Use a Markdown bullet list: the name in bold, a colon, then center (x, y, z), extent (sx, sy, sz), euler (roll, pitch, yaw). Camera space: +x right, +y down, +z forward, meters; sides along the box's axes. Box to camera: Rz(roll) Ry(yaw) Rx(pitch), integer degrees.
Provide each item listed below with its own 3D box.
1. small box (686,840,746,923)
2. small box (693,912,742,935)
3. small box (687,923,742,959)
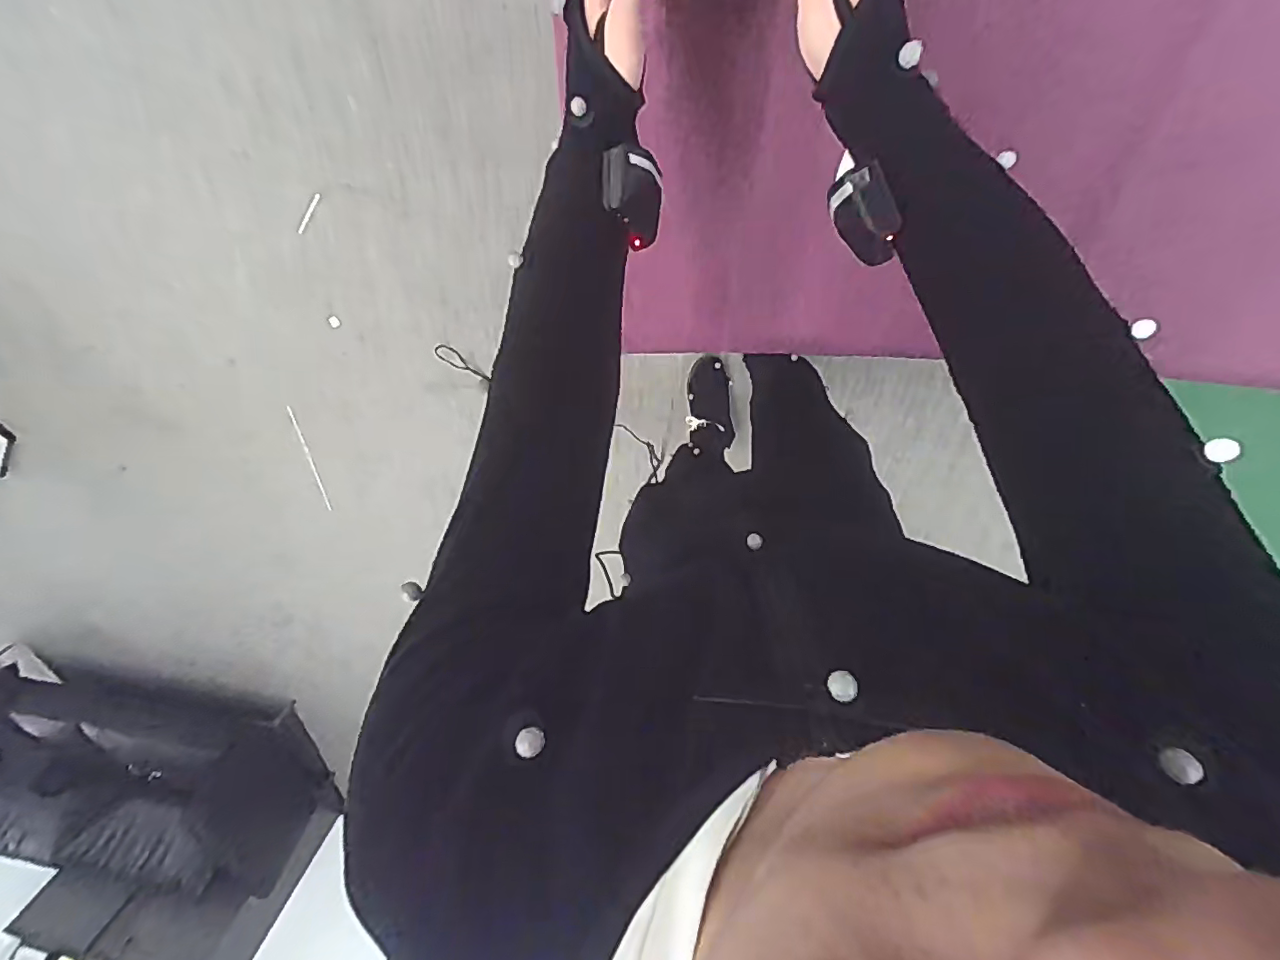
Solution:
- **small box**: center (0.259, 1.358, 1.837), extent (0.179, 0.176, 0.168), euler (8, 127, 8)
- **small box**: center (0.285, 1.579, 1.983), extent (0.168, 0.176, 0.179), euler (6, 124, 11)
- **small box**: center (0.251, 1.655, 1.839), extent (0.168, 0.176, 0.179), euler (11, 125, 6)
